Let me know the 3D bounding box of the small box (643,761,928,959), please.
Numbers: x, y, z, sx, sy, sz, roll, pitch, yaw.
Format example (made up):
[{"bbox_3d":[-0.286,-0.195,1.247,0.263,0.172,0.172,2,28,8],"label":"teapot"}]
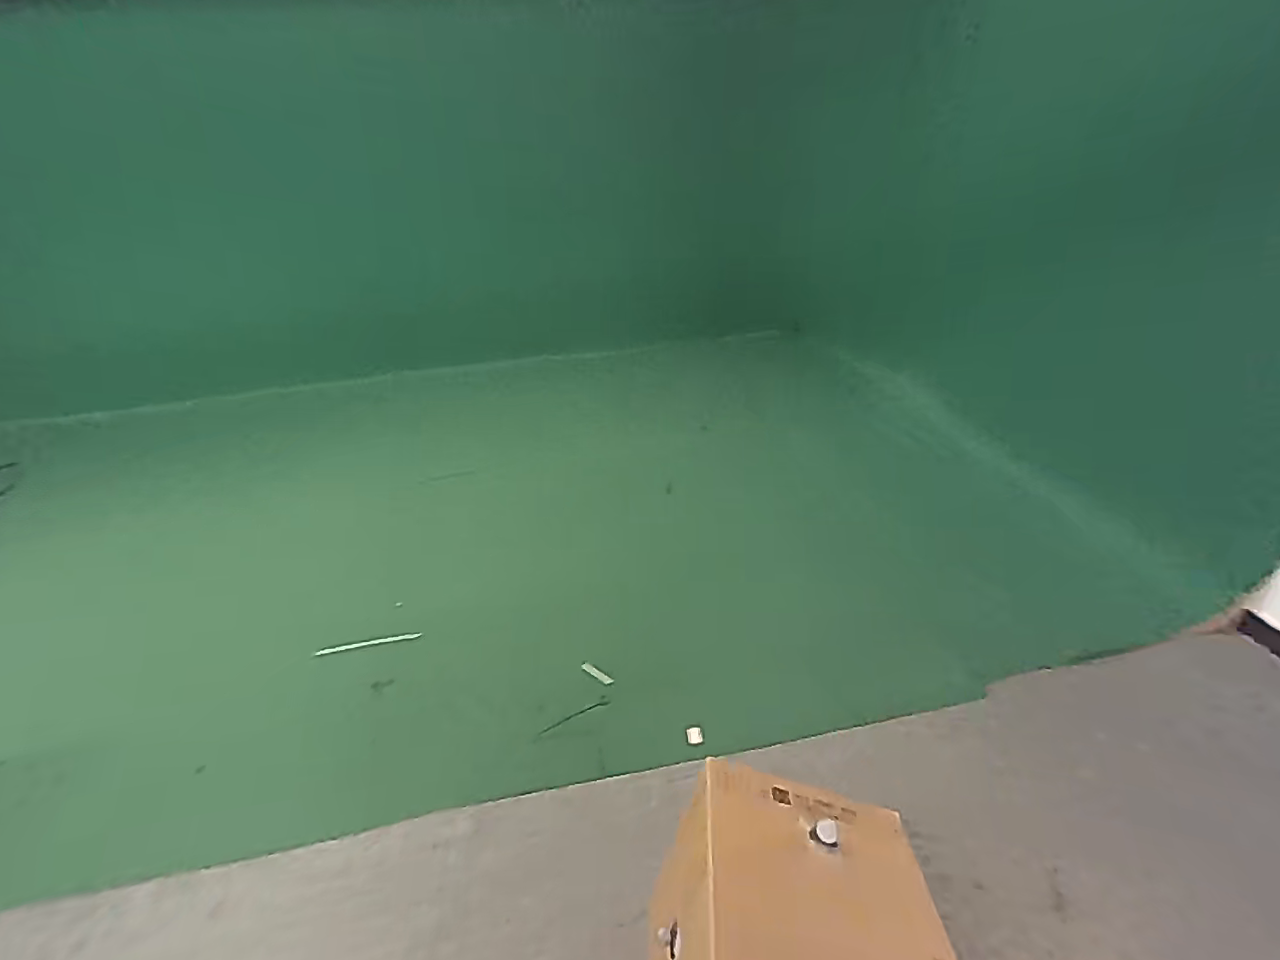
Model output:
[{"bbox_3d":[0.096,0.353,0.396,0.168,0.179,0.176,15,15,1],"label":"small box"}]
